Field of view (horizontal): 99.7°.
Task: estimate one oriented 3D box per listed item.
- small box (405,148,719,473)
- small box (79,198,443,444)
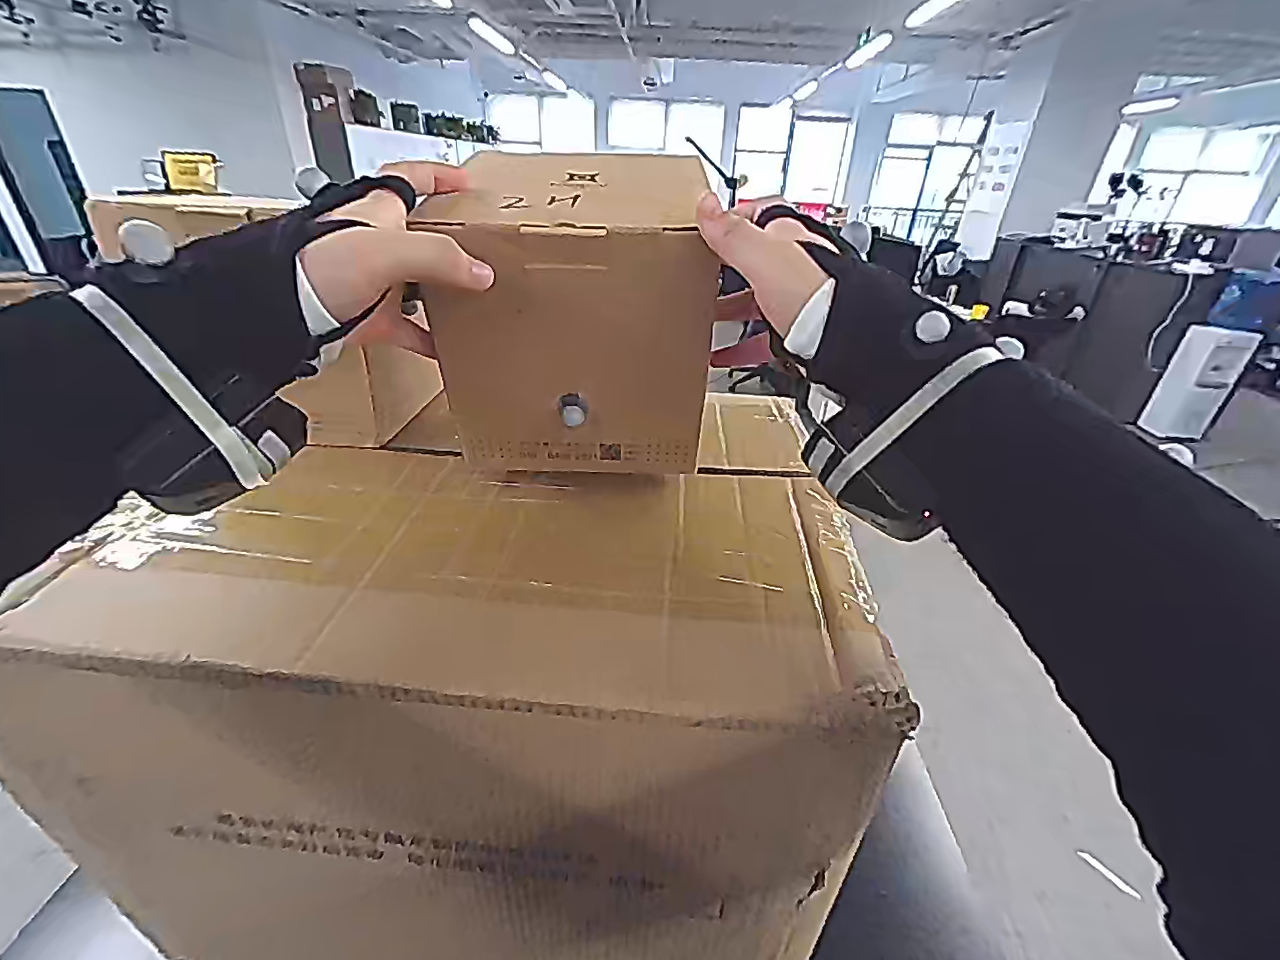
[{"bbox_3d":[-0.040,-0.125,0.390,0.168,0.176,0.179,1,42,0],"label":"small box"},{"bbox_3d":[-0.278,-0.138,0.454,0.168,0.176,0.179,2,28,-1],"label":"small box"}]
